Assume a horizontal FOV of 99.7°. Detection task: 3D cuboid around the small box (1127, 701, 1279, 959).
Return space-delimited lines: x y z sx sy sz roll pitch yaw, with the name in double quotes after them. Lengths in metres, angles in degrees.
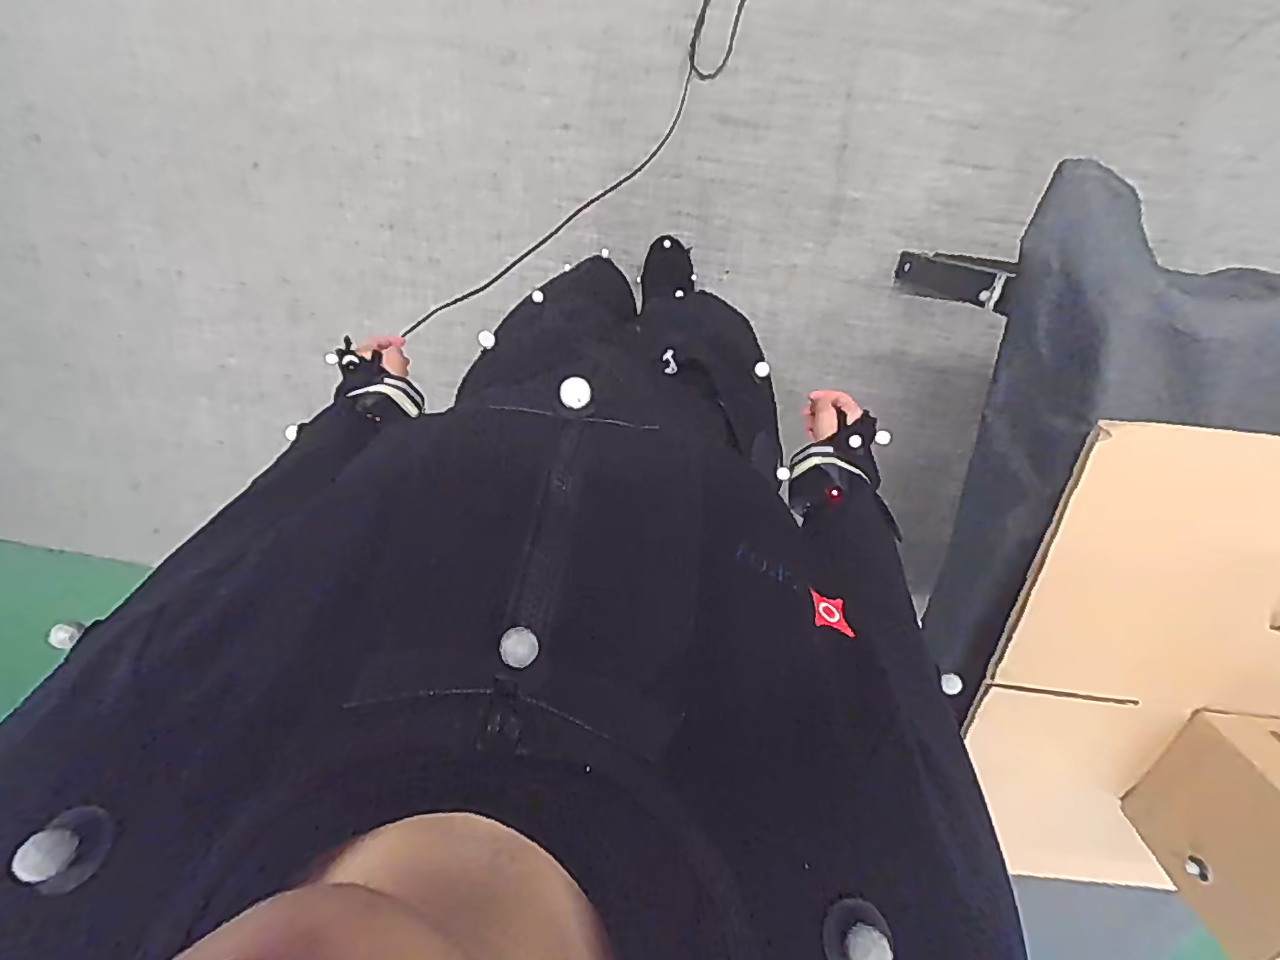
0.658 0.355 0.544 0.168 0.176 0.179 4 118 0 "small box"
